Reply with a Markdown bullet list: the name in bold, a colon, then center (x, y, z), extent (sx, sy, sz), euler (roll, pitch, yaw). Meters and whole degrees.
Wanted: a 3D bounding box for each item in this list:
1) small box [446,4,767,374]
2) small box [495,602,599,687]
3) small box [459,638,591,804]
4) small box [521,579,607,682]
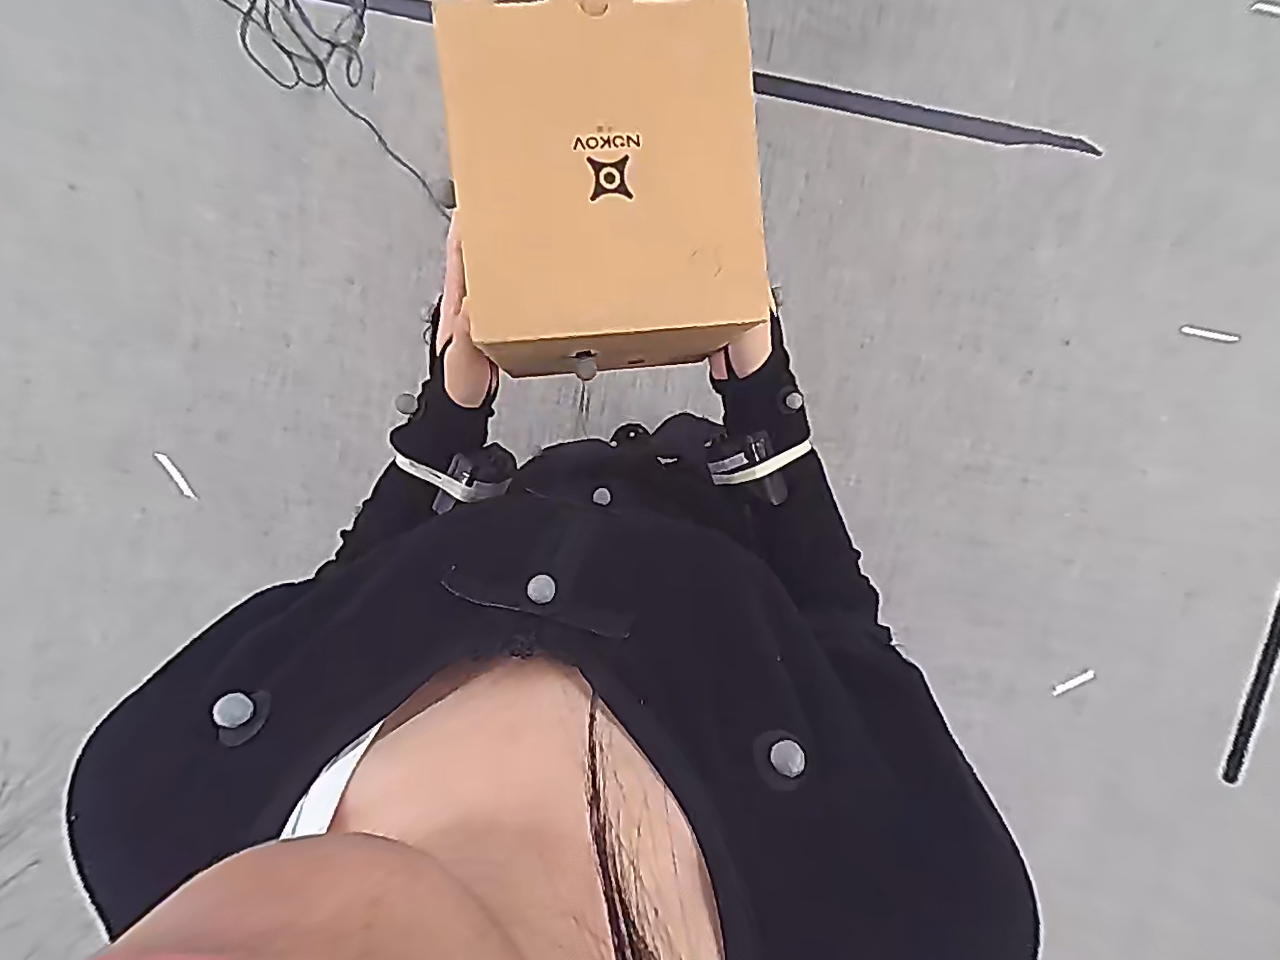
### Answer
- **small box**: center (-0.022, -0.172, 0.376), extent (0.168, 0.176, 0.179), euler (-6, 93, -6)
- **small box**: center (-0.169, 0.335, 0.987), extent (0.168, 0.176, 0.179), euler (7, 96, 1)
- **small box**: center (-0.167, 0.354, 0.823), extent (0.168, 0.176, 0.179), euler (2, 95, 1)
- **small box**: center (-0.165, 0.326, 1.149), extent (0.168, 0.176, 0.179), euler (8, 95, -1)
